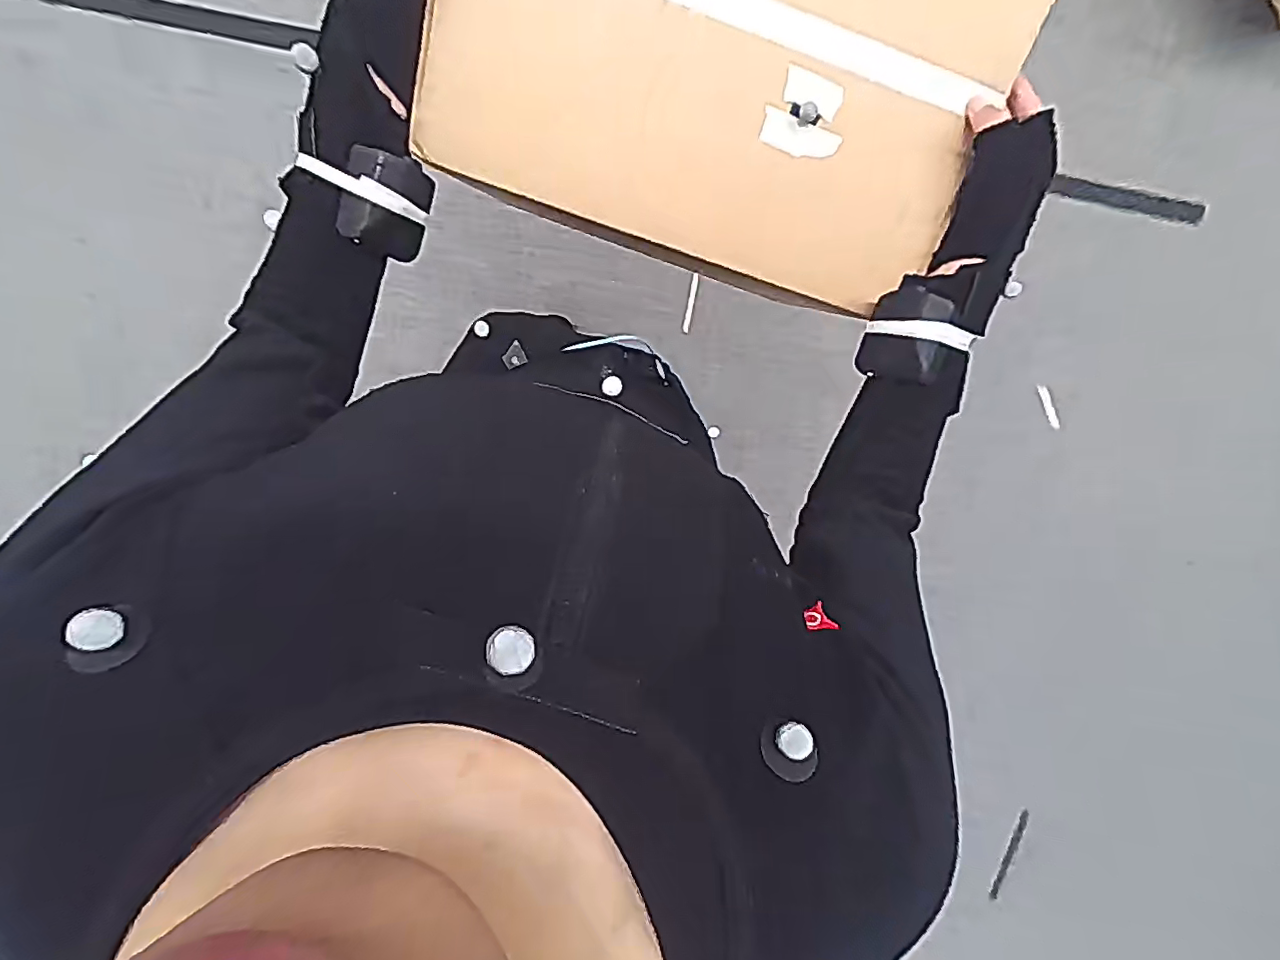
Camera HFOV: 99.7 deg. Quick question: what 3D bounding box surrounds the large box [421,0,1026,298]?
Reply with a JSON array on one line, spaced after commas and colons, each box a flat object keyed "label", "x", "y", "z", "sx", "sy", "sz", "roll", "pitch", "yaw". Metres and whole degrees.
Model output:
[{"label": "large box", "x": 0.058, "y": -0.390, "z": 0.515, "sx": 0.408, "sy": 0.320, "sz": 0.320, "roll": 15, "pitch": 111, "yaw": -9}]
